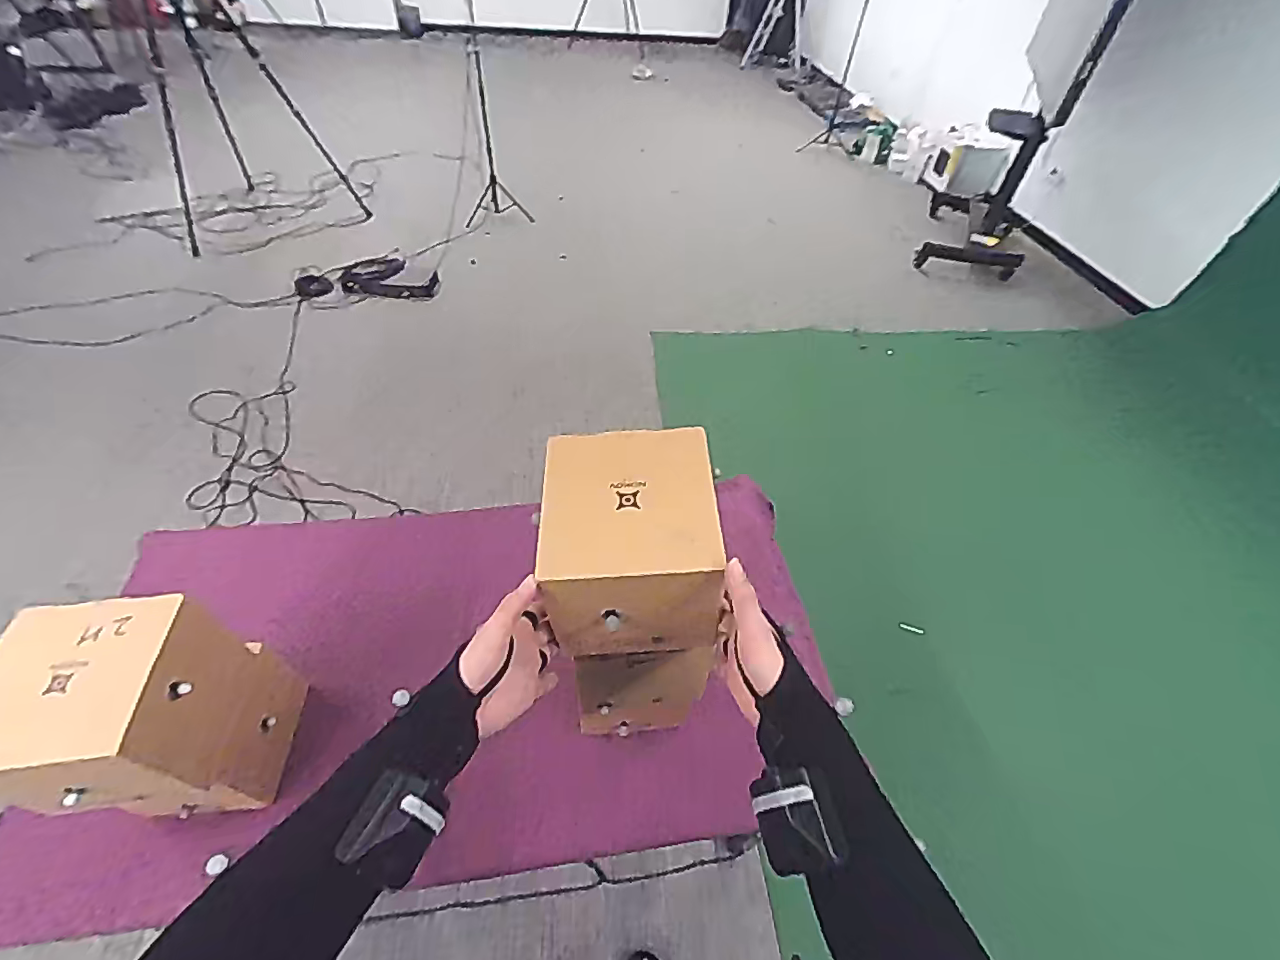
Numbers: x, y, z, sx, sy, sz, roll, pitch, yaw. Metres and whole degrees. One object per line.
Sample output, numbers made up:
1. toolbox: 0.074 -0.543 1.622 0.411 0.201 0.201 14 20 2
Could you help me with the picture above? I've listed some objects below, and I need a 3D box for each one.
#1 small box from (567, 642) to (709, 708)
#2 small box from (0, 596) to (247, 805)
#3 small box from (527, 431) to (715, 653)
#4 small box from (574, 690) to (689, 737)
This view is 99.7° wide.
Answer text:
1. small box: -0.011 0.189 0.723 0.168 0.176 0.179 -5 47 -7
2. small box: -0.593 0.255 0.616 0.168 0.176 0.179 -3 50 -8
3. small box: -0.012 0.072 0.570 0.168 0.176 0.179 -4 49 1
4. small box: -0.020 0.284 0.857 0.168 0.176 0.179 -3 48 -5
